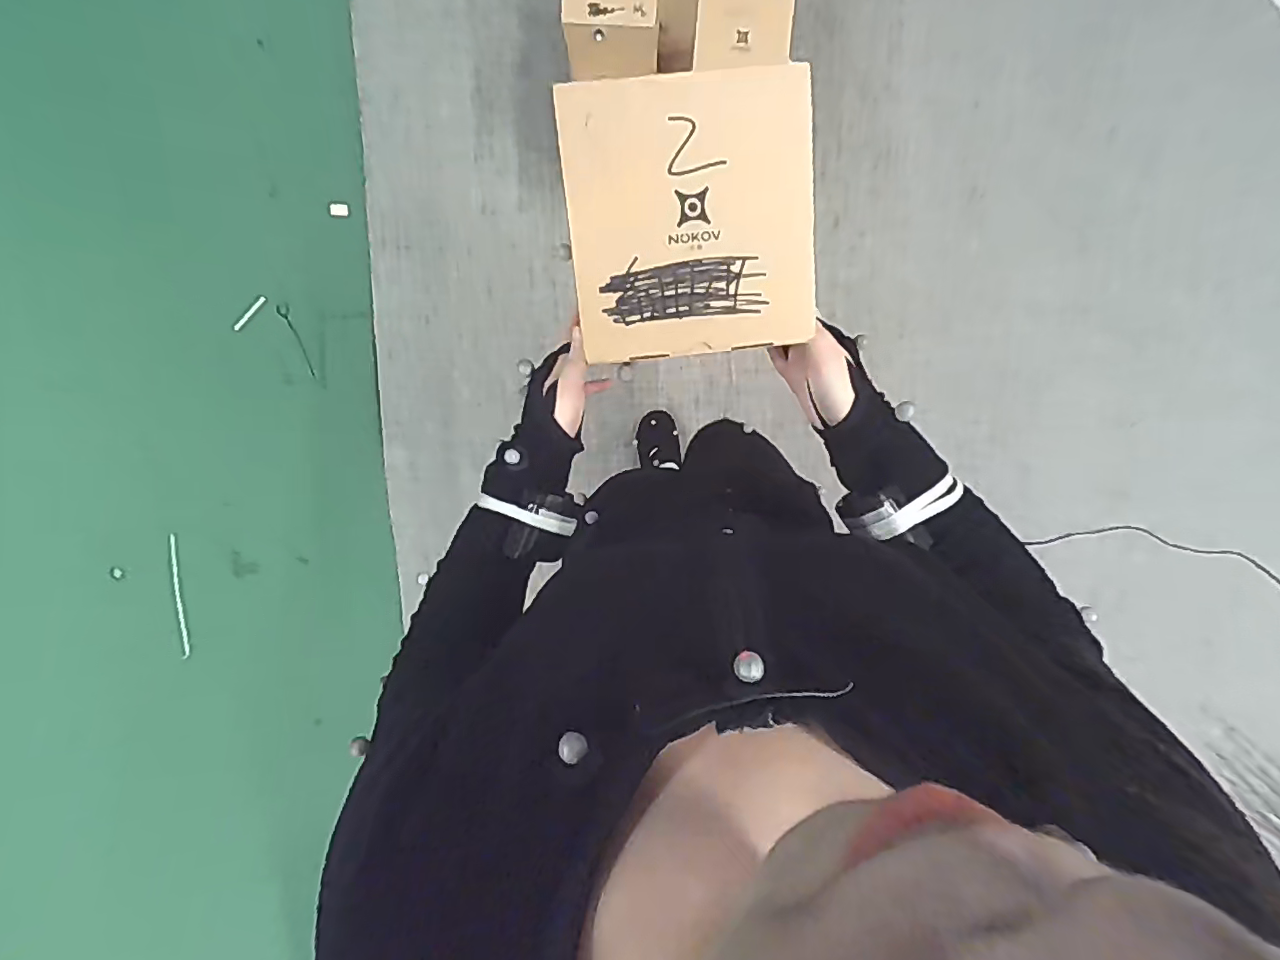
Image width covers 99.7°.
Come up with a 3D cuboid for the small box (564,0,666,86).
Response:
[{"bbox_3d":[-0.039,-0.874,0.995,0.168,0.176,0.179,5,95,3],"label":"small box"}]

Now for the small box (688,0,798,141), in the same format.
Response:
[{"bbox_3d":[0.182,-0.761,0.999,0.168,0.176,0.179,5,96,0],"label":"small box"}]
